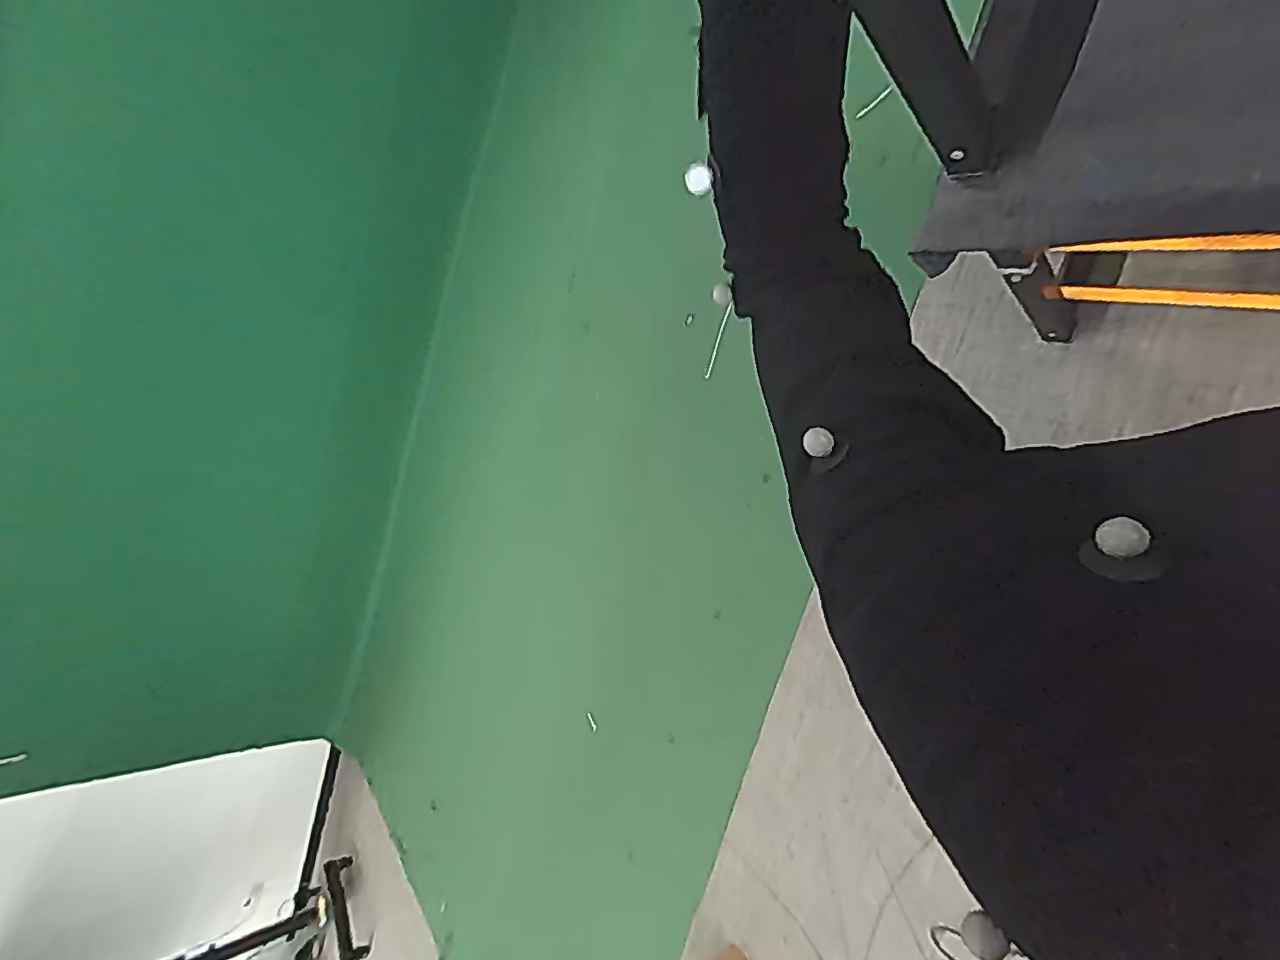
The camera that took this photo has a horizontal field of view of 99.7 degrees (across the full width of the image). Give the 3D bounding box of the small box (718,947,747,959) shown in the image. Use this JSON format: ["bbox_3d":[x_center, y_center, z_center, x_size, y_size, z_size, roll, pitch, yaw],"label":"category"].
[{"bbox_3d":[0.262,1.515,1.555,0.168,0.176,0.179,25,101,45],"label":"small box"}]
